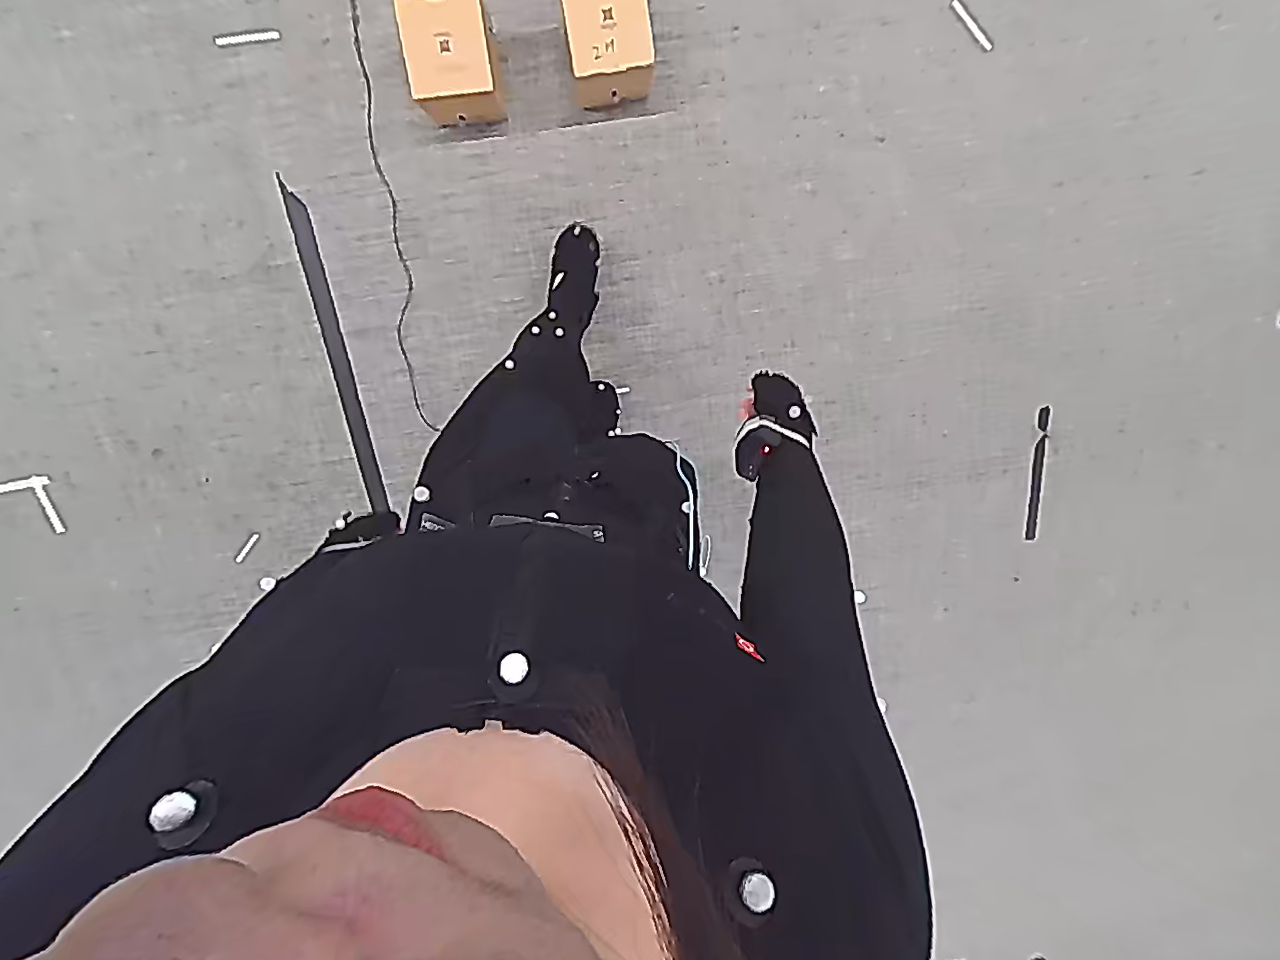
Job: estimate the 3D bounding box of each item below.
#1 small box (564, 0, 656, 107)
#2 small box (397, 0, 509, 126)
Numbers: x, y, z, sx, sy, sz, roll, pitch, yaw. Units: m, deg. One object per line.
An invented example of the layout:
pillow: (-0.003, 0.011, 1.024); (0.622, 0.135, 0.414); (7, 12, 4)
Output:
small box: (-0.065, -0.921, 1.132); (0.168, 0.176, 0.179); (-10, 107, 0)
small box: (-0.382, -0.873, 1.132); (0.168, 0.176, 0.179); (-6, 108, 0)
